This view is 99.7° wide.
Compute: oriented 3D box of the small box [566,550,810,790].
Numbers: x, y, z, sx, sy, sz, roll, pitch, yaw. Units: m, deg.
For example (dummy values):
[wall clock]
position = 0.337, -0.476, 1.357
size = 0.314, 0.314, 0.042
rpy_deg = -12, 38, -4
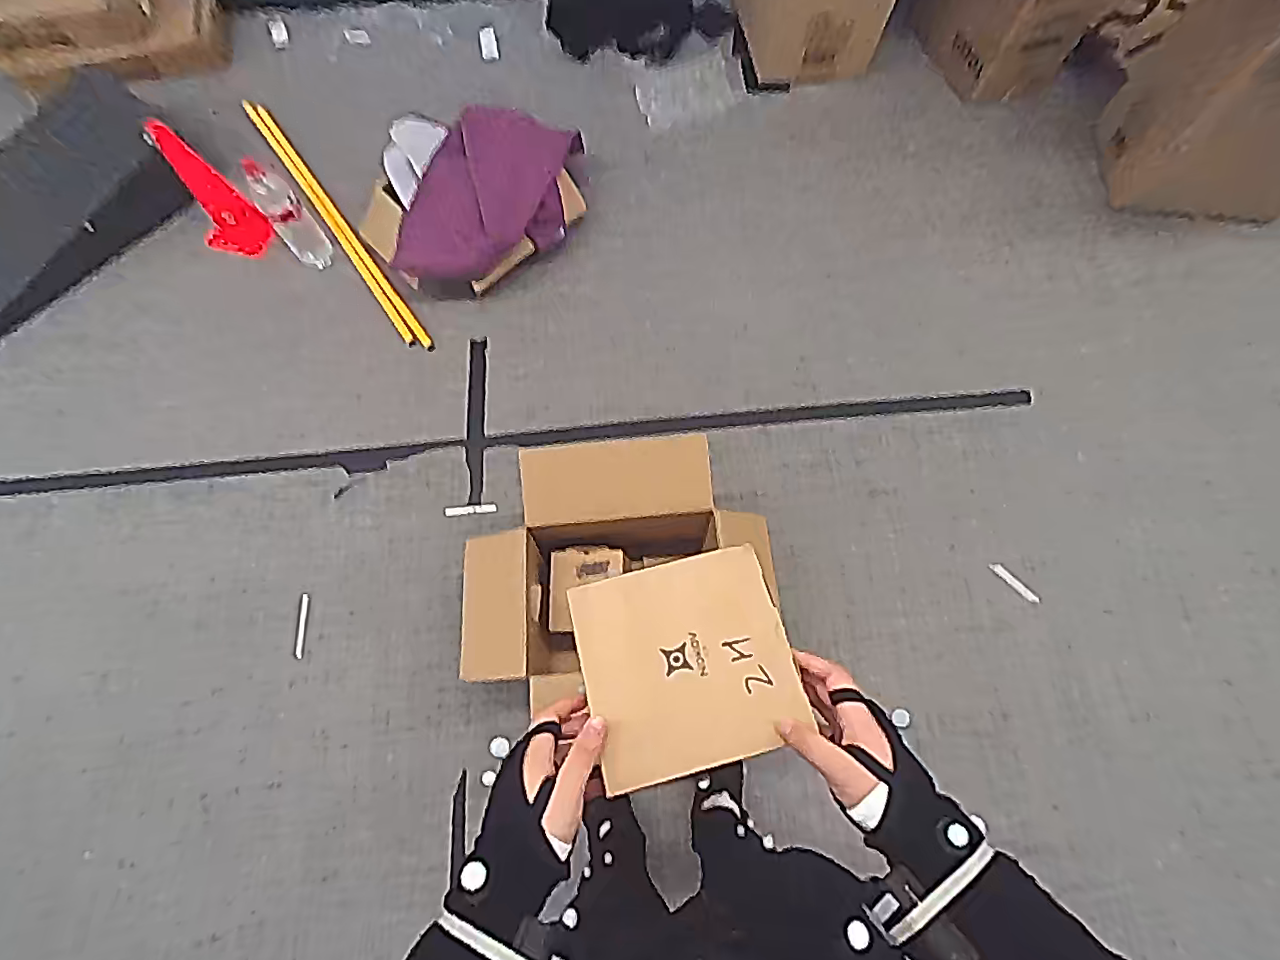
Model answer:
[small box]
position = 0.038, 0.188, 0.533
size = 0.179, 0.176, 0.168
rpy_deg = -13, 66, -6
